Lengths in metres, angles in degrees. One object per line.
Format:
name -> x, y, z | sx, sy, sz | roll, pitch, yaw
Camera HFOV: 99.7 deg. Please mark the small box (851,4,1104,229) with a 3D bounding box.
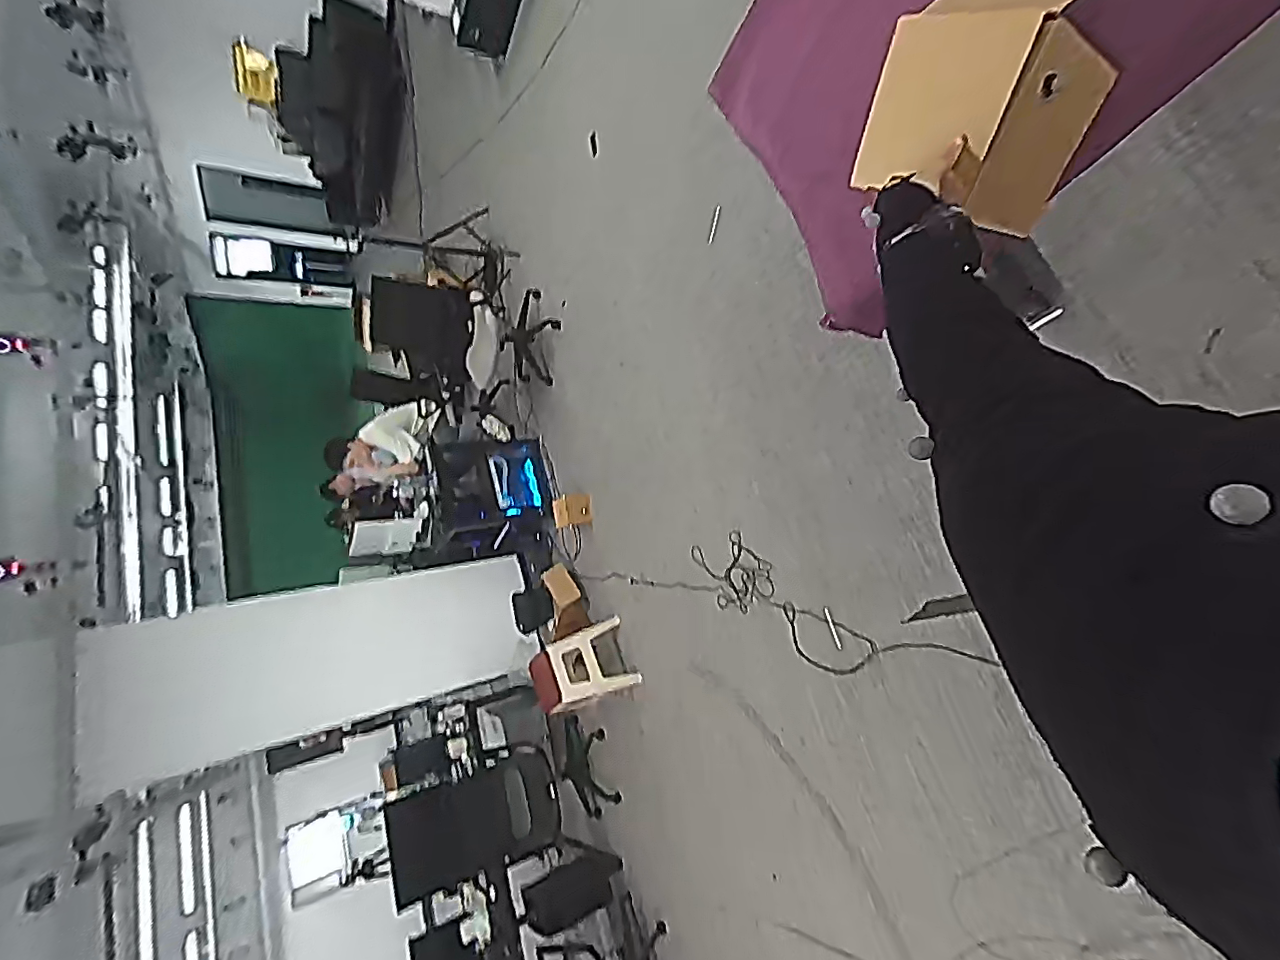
small box -> 0.399, -0.423, 0.645 | 0.168, 0.176, 0.179 | 50, 133, 43
